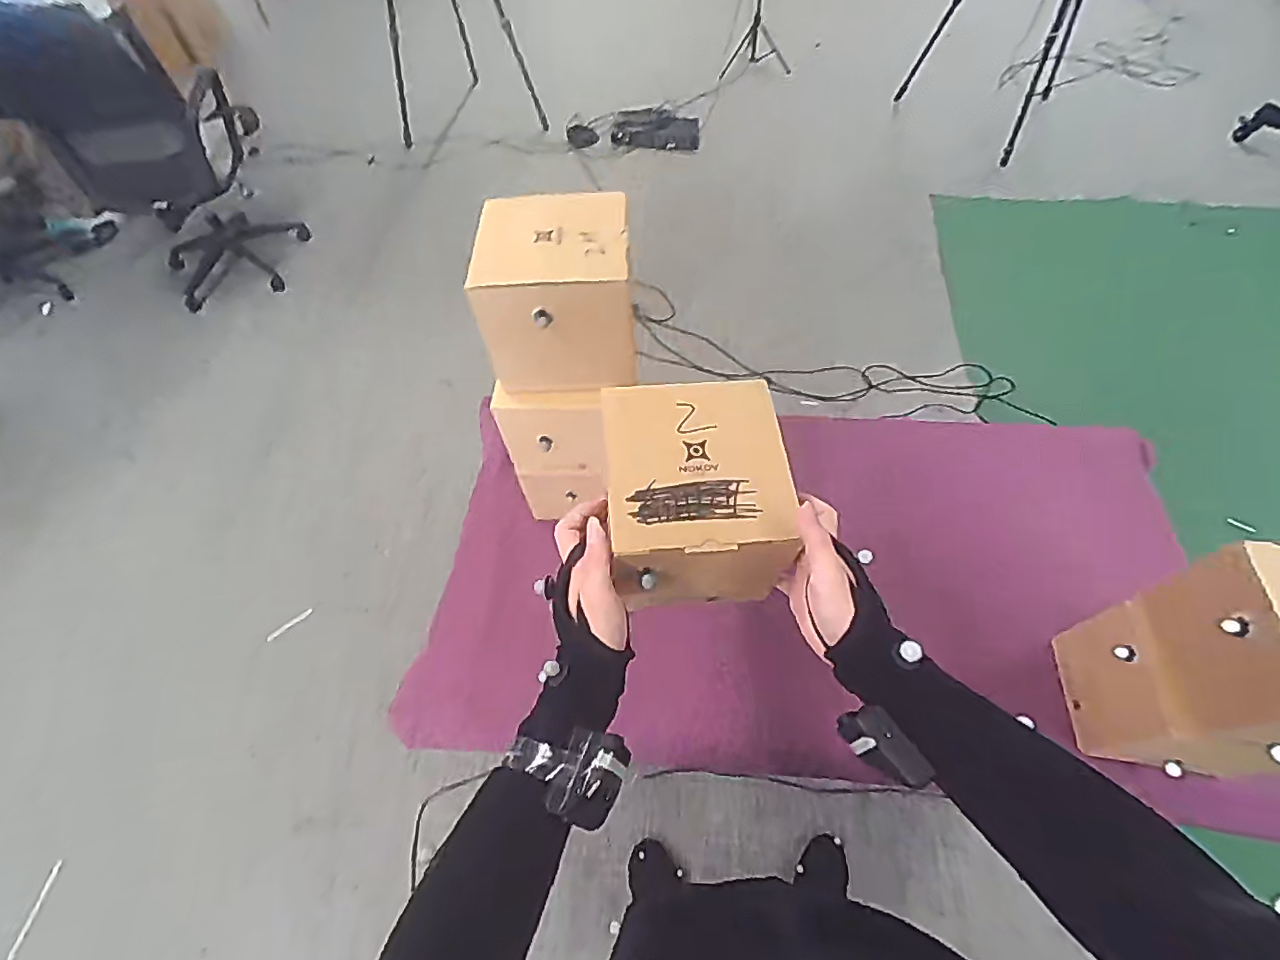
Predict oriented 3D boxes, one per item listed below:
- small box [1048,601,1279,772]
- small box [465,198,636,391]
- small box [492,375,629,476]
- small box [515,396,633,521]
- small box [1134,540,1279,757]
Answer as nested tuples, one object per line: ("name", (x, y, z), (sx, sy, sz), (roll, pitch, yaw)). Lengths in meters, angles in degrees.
("small box", (0.696, 0.278, 0.714), (0.179, 0.176, 0.168), (7, 57, 7))
("small box", (-0.098, -0.226, 0.681), (0.179, 0.176, 0.168), (-2, 58, 1))
("small box", (-0.105, -0.118, 0.808), (0.168, 0.176, 0.179), (1, 58, 3))
("small box", (-0.104, -0.037, 0.947), (0.179, 0.176, 0.168), (0, 58, 3))
("small box", (0.692, 0.186, 0.579), (0.168, 0.176, 0.179), (5, 58, 8))
